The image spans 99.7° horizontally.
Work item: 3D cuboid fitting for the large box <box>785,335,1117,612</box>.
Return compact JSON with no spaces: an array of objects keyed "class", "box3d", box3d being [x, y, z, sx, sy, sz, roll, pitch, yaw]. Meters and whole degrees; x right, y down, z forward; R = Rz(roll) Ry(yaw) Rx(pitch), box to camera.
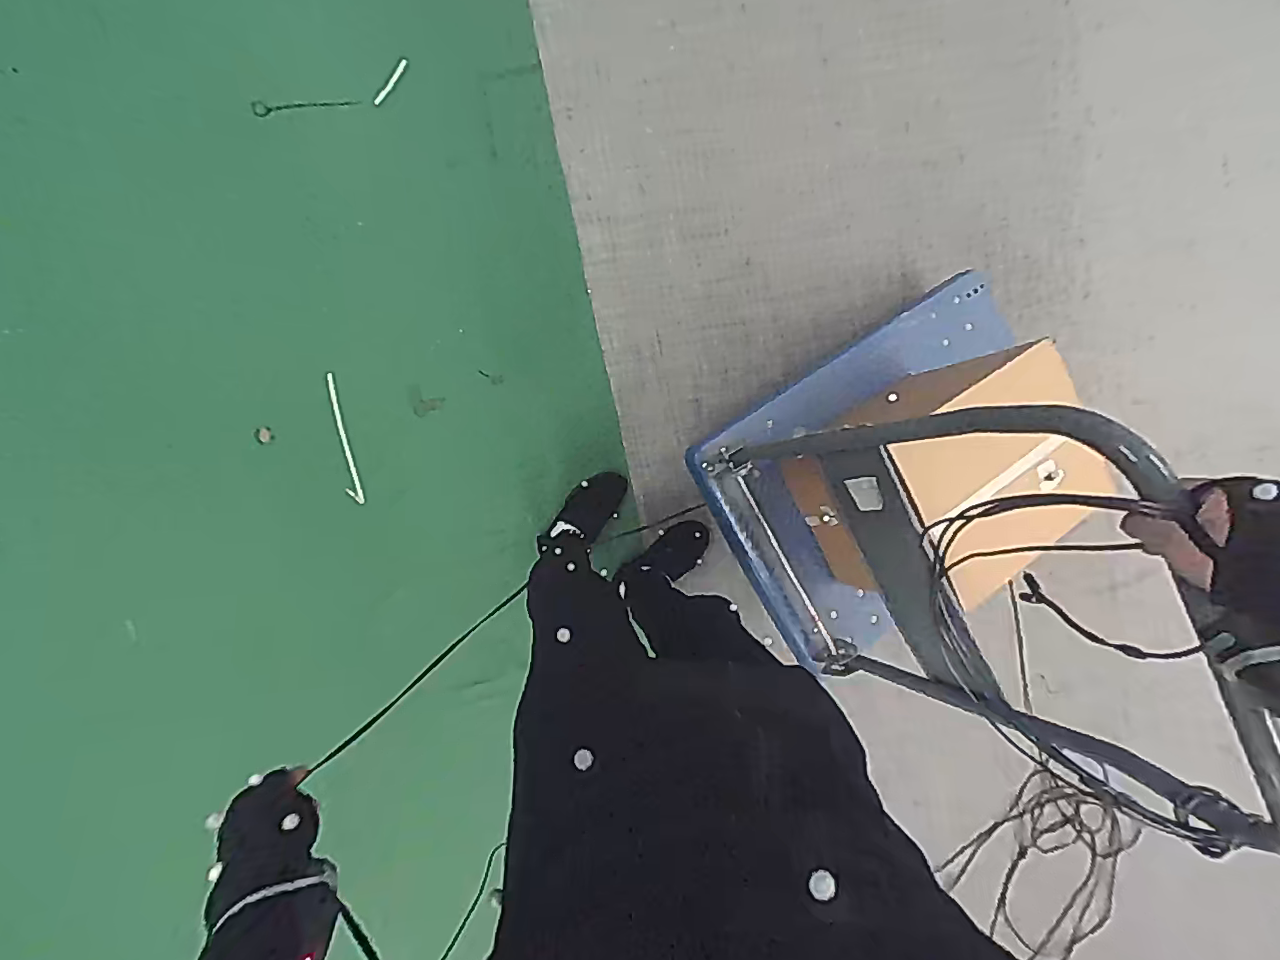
[{"class":"large box","box3d":[0.564,-0.014,1.021,0.408,0.320,0.320,-30,98,-16]}]
